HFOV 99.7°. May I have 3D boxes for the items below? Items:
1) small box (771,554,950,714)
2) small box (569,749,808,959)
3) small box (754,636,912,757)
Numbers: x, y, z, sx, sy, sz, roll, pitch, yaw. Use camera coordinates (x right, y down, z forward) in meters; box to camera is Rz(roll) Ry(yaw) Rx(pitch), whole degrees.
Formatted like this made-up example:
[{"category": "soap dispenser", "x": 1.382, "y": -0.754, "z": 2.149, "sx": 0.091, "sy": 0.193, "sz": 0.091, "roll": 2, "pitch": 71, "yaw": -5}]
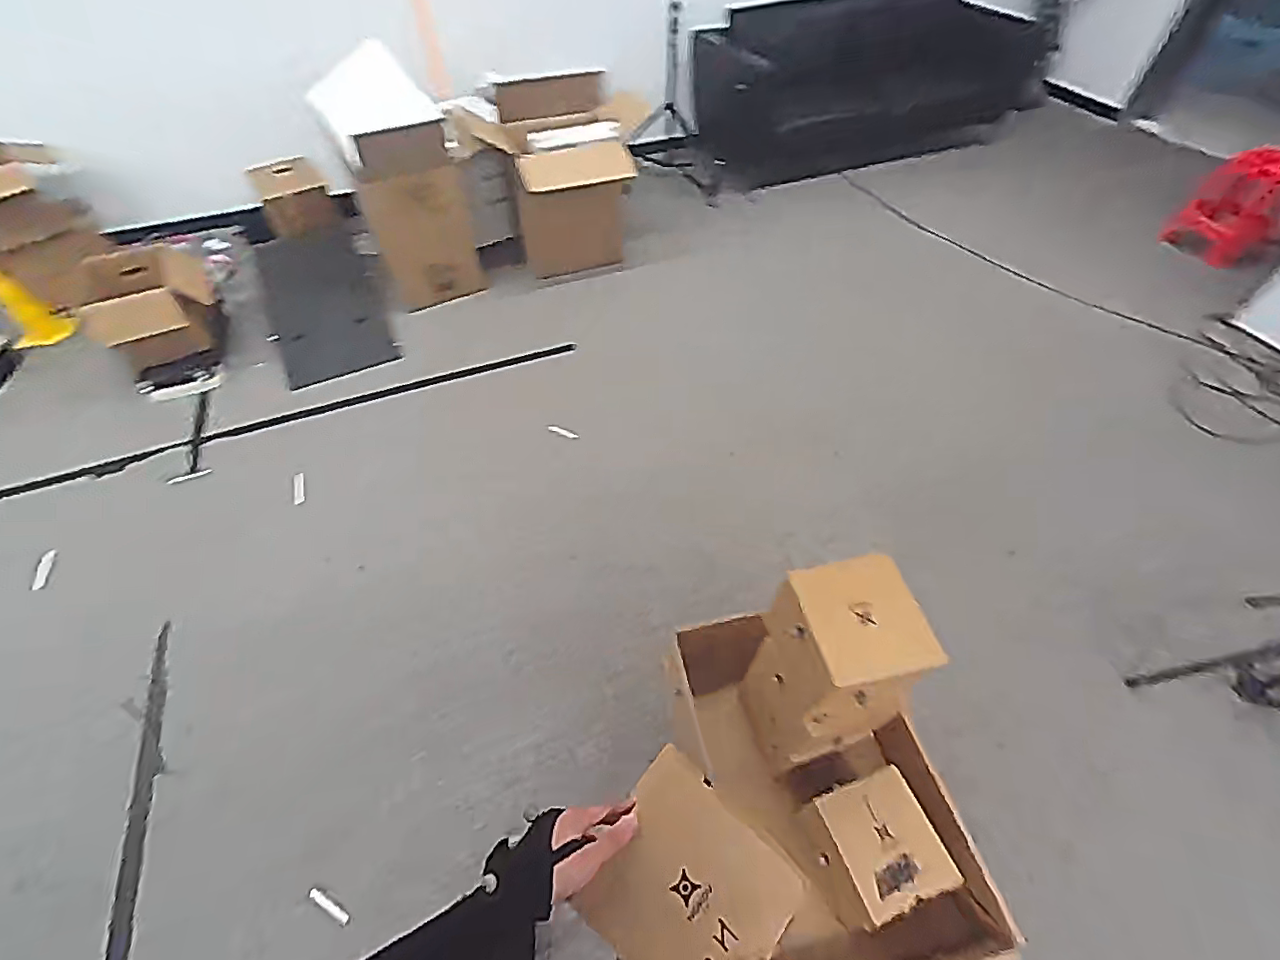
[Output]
[{"category": "small box", "x": 0.317, "y": 0.240, "z": 0.821, "sx": 0.168, "sy": 0.176, "sz": 0.179, "roll": -10, "pitch": 53, "yaw": -9}, {"category": "small box", "x": 0.047, "y": 0.424, "z": 0.596, "sx": 0.179, "sy": 0.176, "sz": 0.168, "roll": 38, "pitch": 75, "yaw": 13}, {"category": "small box", "x": 0.320, "y": 0.358, "z": 0.935, "sx": 0.179, "sy": 0.176, "sz": 0.168, "roll": -12, "pitch": 54, "yaw": -11}]
